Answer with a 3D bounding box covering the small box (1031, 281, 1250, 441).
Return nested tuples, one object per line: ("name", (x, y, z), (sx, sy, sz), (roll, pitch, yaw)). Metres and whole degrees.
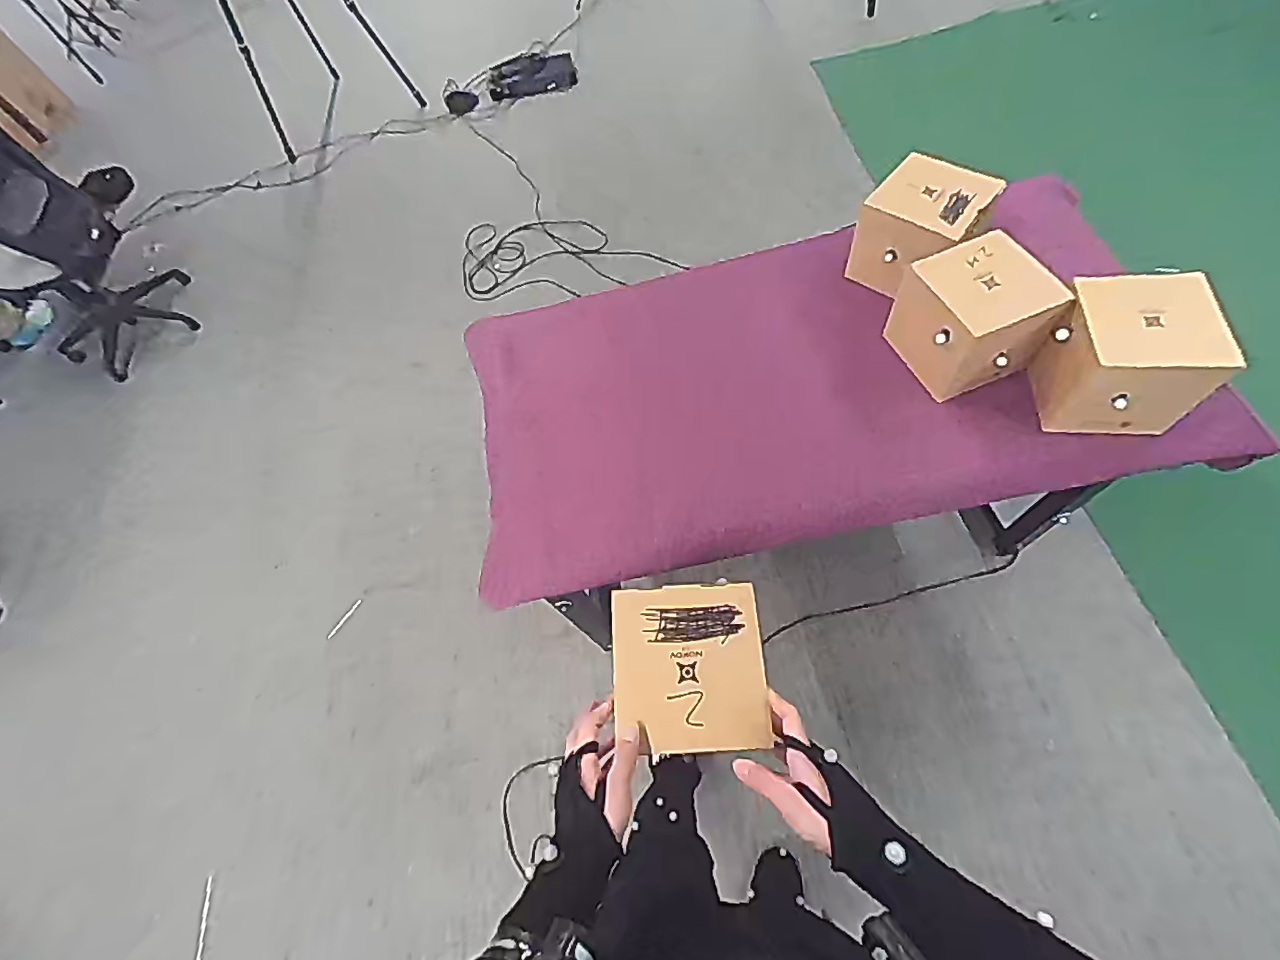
("small box", (0.729, -0.173, 0.816), (0.168, 0.176, 0.179), (3, 61, 12))
